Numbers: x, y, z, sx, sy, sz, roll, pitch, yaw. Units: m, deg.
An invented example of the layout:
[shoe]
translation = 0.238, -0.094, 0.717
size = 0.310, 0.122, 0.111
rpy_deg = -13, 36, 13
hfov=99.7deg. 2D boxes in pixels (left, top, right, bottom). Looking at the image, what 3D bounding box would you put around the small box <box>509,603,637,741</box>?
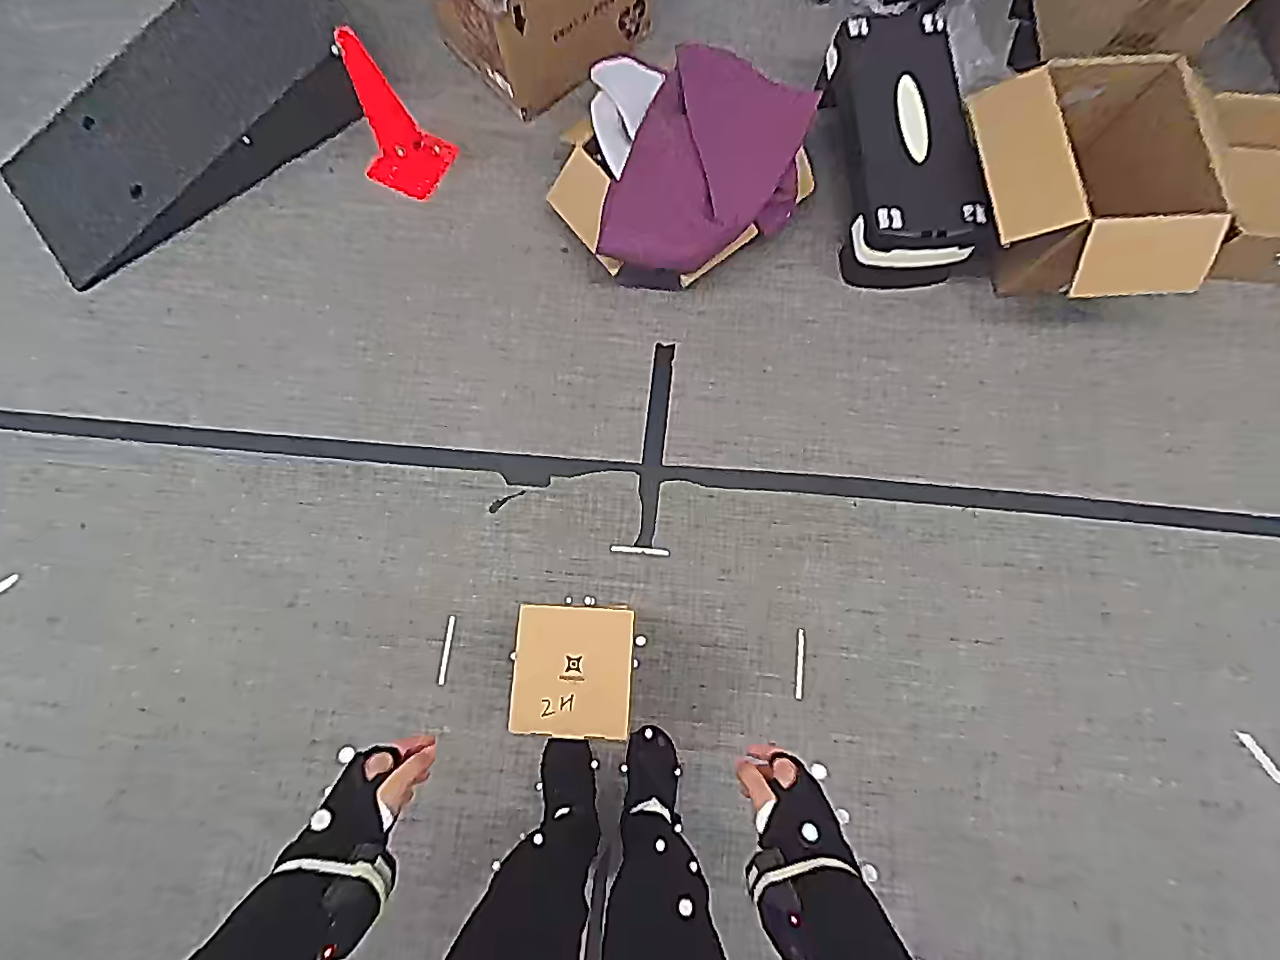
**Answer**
[small box]
translation = -0.091, 0.283, 0.828
size = 0.168, 0.176, 0.179
rpy_deg = 3, 77, 2
